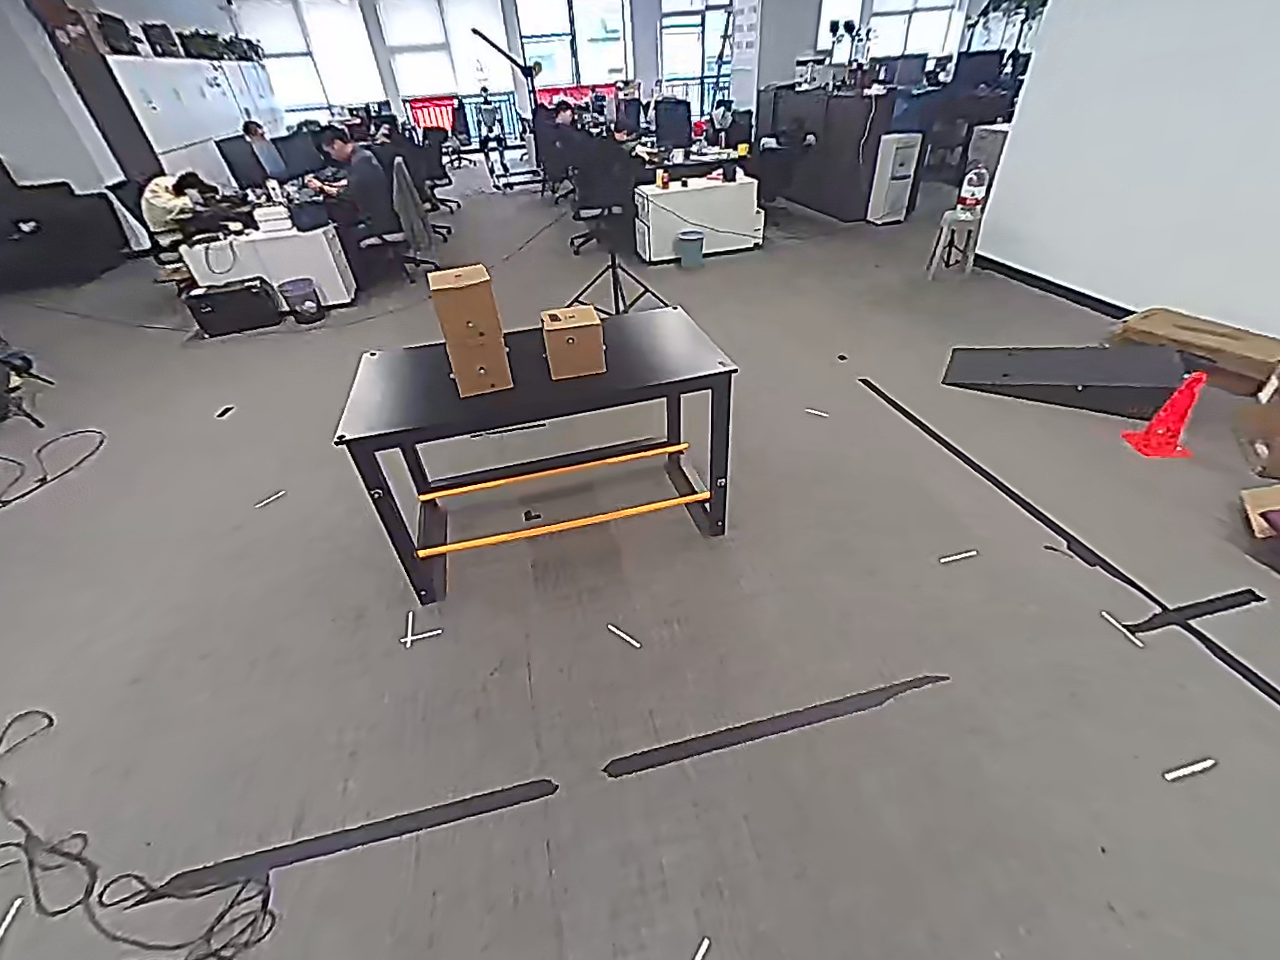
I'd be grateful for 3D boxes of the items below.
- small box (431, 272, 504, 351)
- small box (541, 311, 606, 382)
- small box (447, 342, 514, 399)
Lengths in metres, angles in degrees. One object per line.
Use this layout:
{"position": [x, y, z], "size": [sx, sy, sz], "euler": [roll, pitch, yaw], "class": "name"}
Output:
{"position": [-0.516, -0.505, 1.616], "size": [0.168, 0.176, 0.179], "euler": [-16, 39, -13], "class": "small box"}
{"position": [-0.216, -0.434, 1.762], "size": [0.179, 0.176, 0.168], "euler": [-10, 38, -9], "class": "small box"}
{"position": [-0.505, -0.371, 1.713], "size": [0.168, 0.176, 0.179], "euler": [-15, 39, -12], "class": "small box"}
